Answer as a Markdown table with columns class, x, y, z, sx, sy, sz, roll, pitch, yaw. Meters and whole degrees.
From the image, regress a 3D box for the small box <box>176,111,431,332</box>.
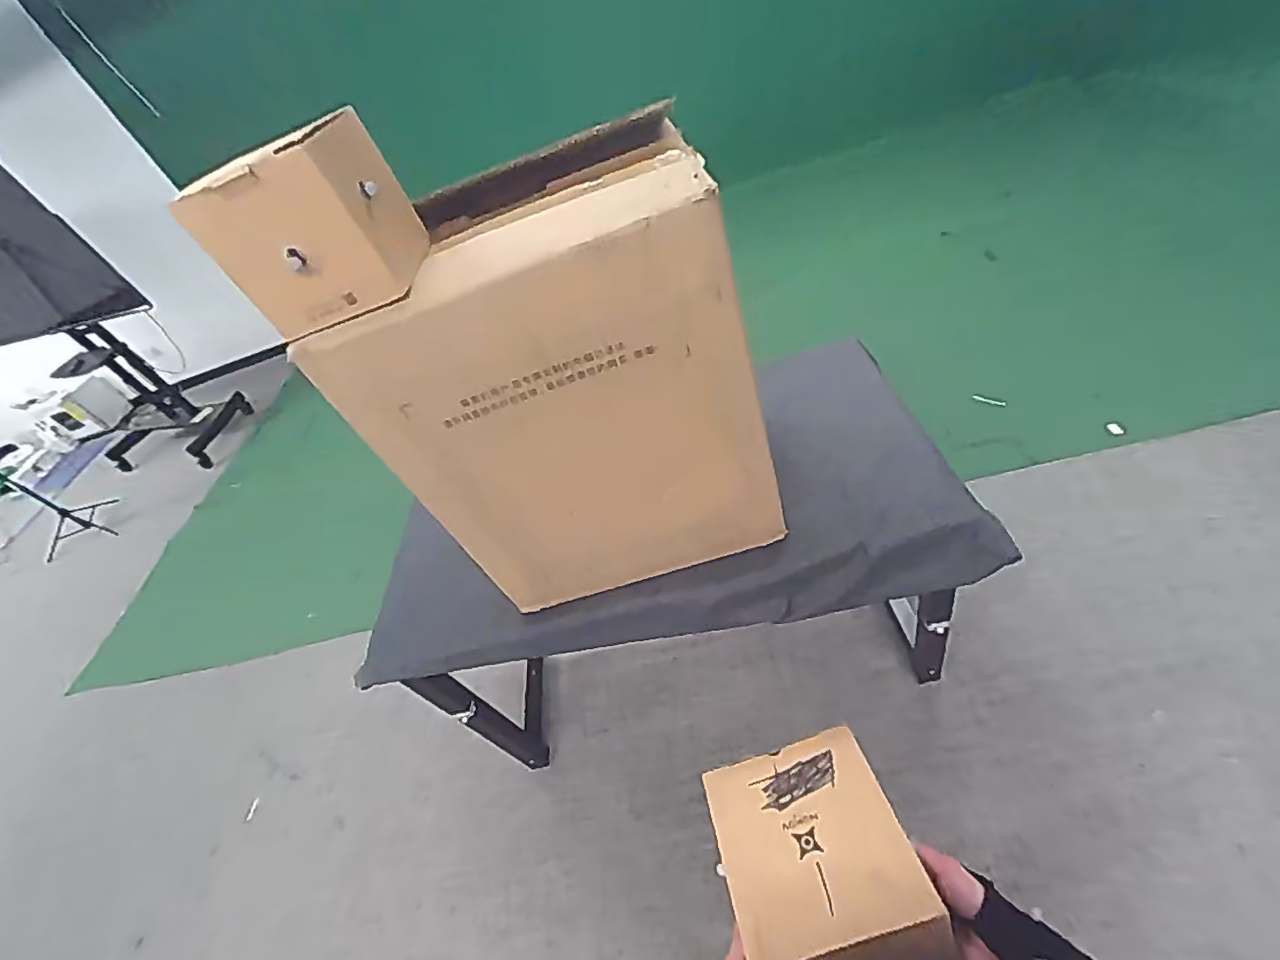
| class | x | y | z | sx | sy | sz | roll | pitch | yaw |
| --- | --- | --- | --- | --- | --- | --- | --- | --- | --- |
| small box | -0.377 | -0.299 | 0.647 | 0.168 | 0.176 | 0.179 | -17 | 44 | 9 |
